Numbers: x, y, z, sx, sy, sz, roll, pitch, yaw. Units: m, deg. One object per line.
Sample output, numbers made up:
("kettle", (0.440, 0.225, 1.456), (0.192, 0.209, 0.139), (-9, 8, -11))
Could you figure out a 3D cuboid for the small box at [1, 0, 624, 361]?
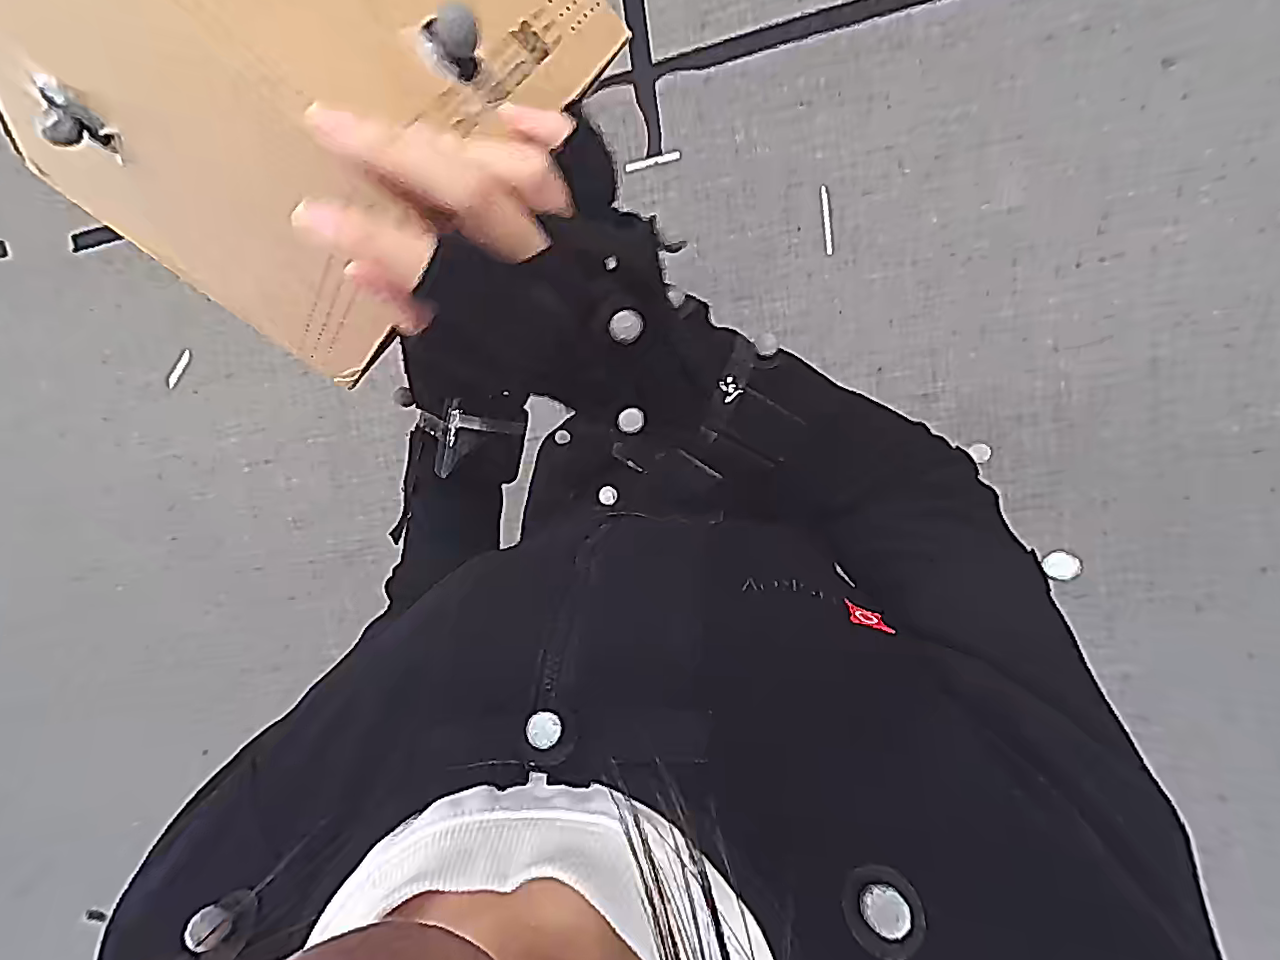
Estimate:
("small box", (-0.140, -0.188, 0.266), (0.176, 0.168, 0.179), (38, 148, -26))
